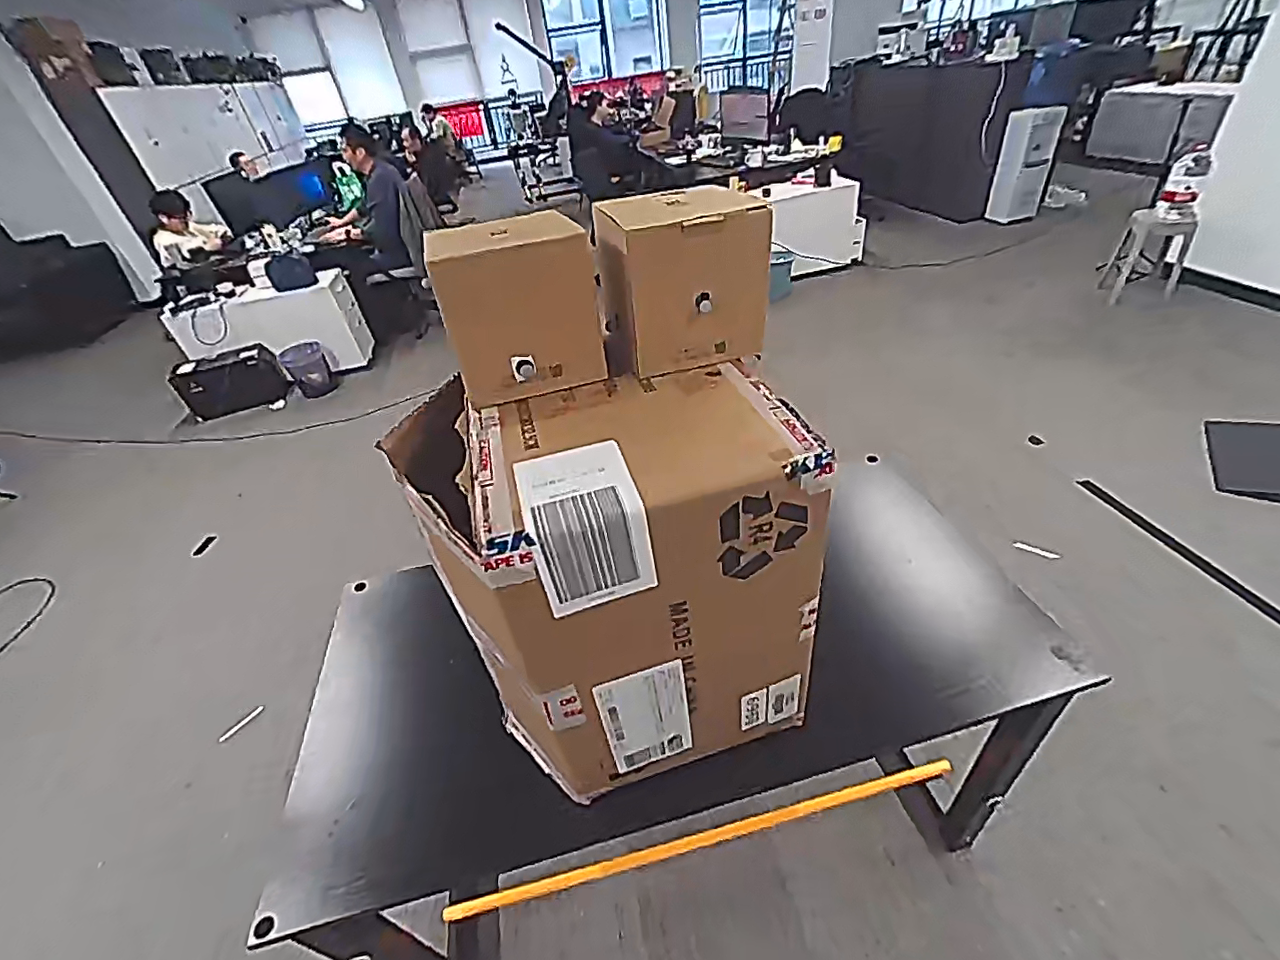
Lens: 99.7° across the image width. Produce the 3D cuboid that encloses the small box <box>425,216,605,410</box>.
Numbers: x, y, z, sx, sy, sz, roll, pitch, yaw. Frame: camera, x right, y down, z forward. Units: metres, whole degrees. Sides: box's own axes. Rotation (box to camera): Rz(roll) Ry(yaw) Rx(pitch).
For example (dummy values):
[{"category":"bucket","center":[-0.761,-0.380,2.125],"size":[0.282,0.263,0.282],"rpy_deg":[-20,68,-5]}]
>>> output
[{"category":"small box","center":[-0.151,-0.207,0.658],"size":[0.168,0.176,0.179],"rpy_deg":[-17,37,-12]}]
